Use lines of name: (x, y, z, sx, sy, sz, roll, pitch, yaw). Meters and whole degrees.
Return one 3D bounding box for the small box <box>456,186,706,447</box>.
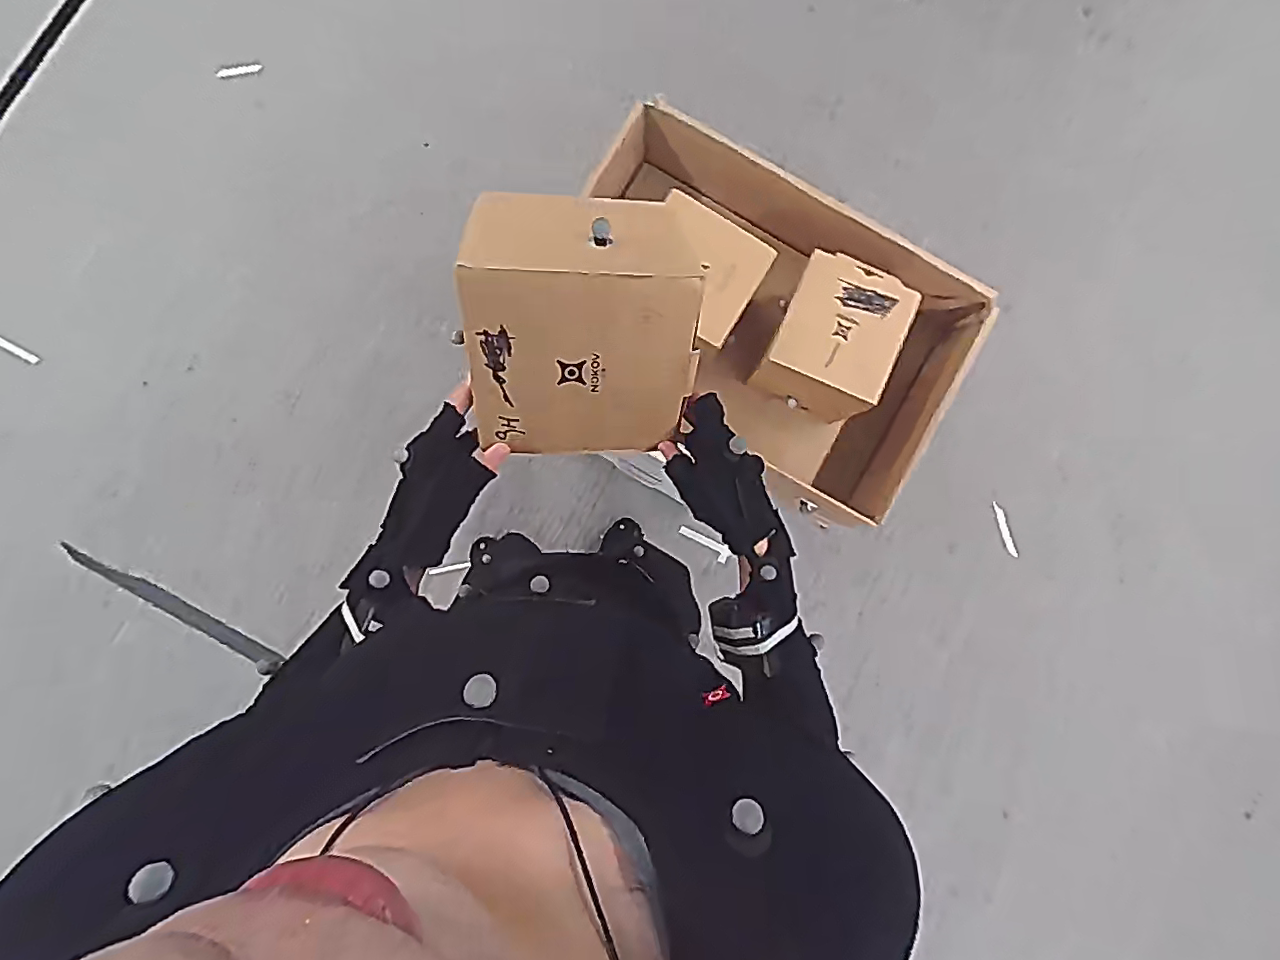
small box: (-0.058, -0.146, 0.478, 0.179, 0.168, 0.176, -2, 42, -11)
